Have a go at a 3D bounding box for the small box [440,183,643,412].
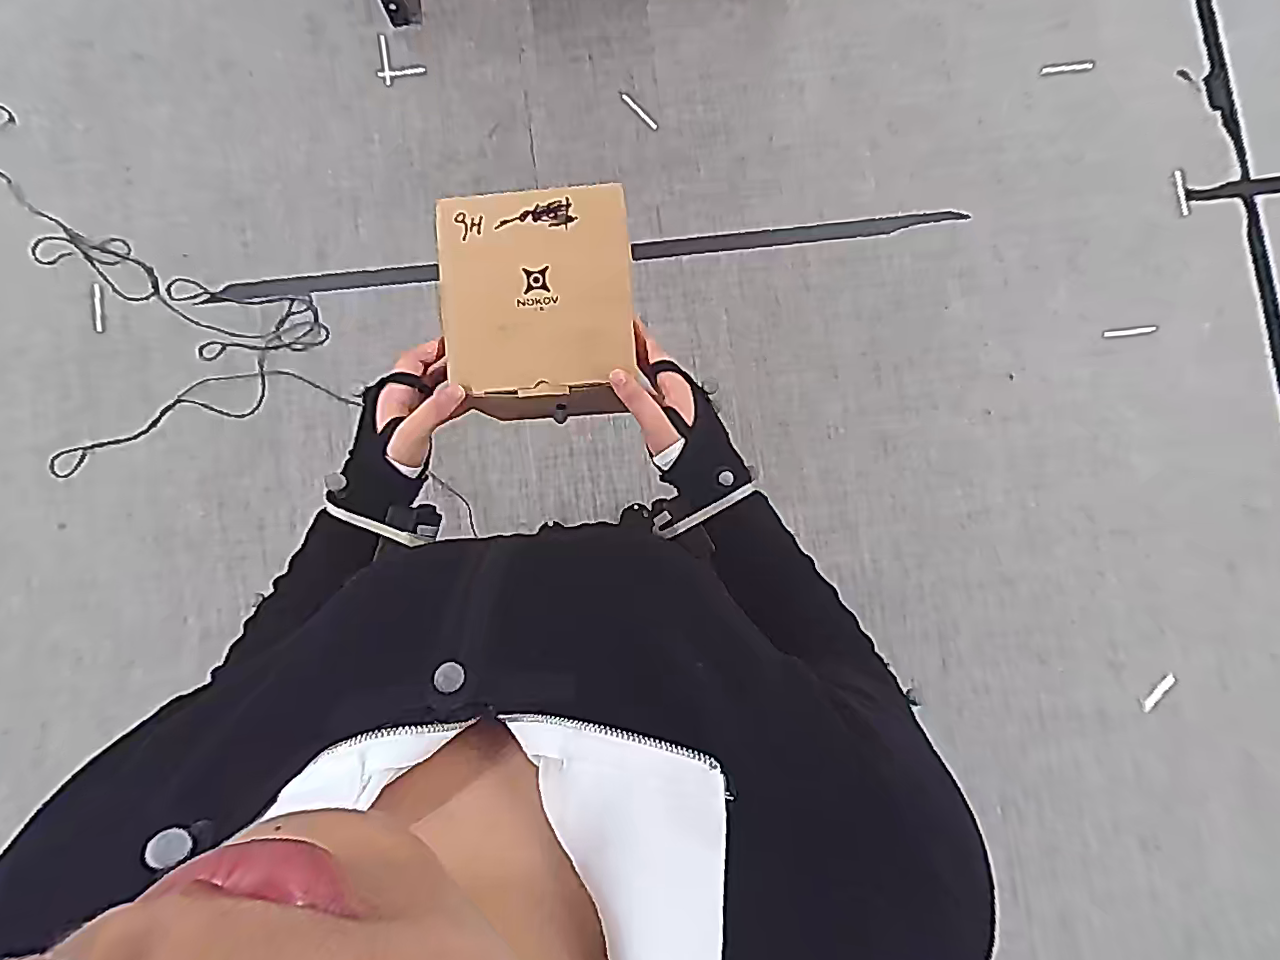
[{"bbox_3d":[-0.085,-0.165,0.549,0.168,0.176,0.179,-4,90,1],"label":"small box"}]
